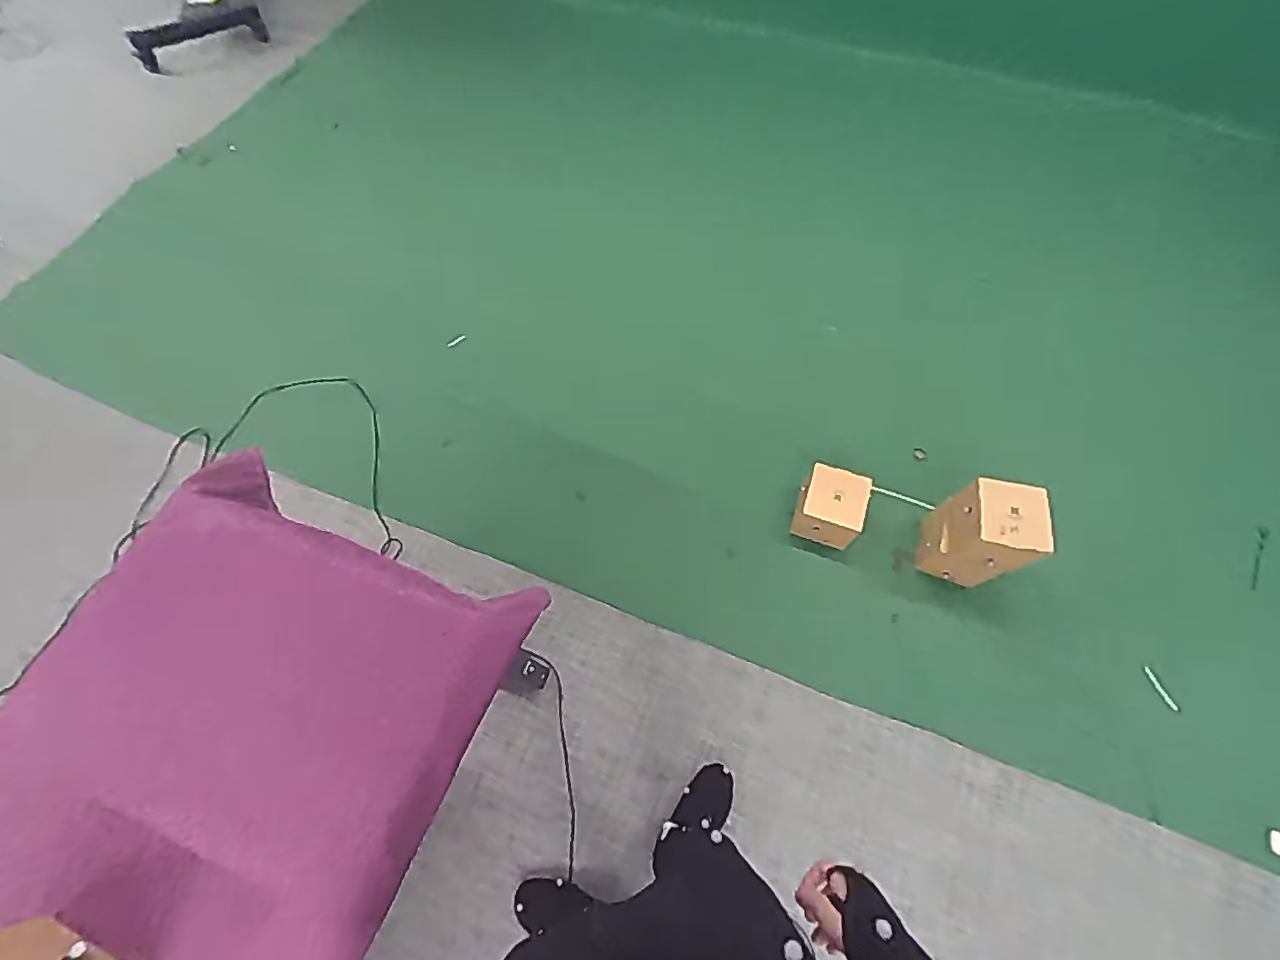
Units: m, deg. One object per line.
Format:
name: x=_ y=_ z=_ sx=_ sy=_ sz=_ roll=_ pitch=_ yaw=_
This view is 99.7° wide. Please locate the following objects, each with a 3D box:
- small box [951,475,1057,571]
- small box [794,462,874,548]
small box: x=0.916 y=0.113 z=1.379 sx=0.168 sy=0.176 sz=0.179 roll=10 pitch=65 yaw=7
small box: x=0.564 y=0.080 z=1.590 sx=0.168 sy=0.176 sz=0.179 roll=18 pitch=65 yaw=10
